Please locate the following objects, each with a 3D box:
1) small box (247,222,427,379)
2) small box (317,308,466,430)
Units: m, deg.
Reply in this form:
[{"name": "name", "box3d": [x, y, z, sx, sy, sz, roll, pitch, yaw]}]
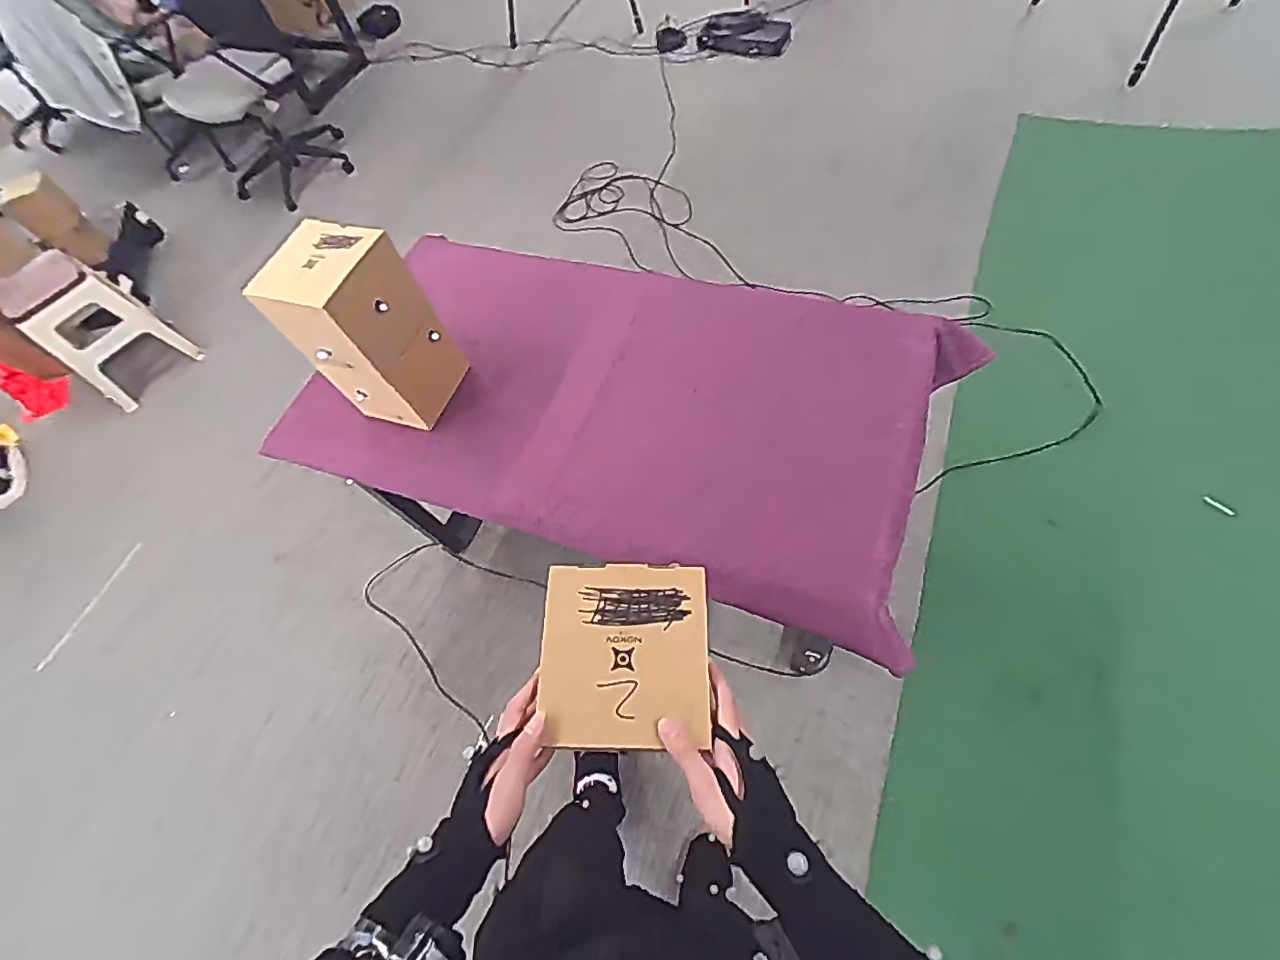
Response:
[{"name": "small box", "box3d": [-0.493, -0.301, 0.916, 0.168, 0.176, 0.179, 14, 66, 17]}, {"name": "small box", "box3d": [-0.471, -0.221, 1.058, 0.168, 0.176, 0.179, 14, 64, 16]}]
